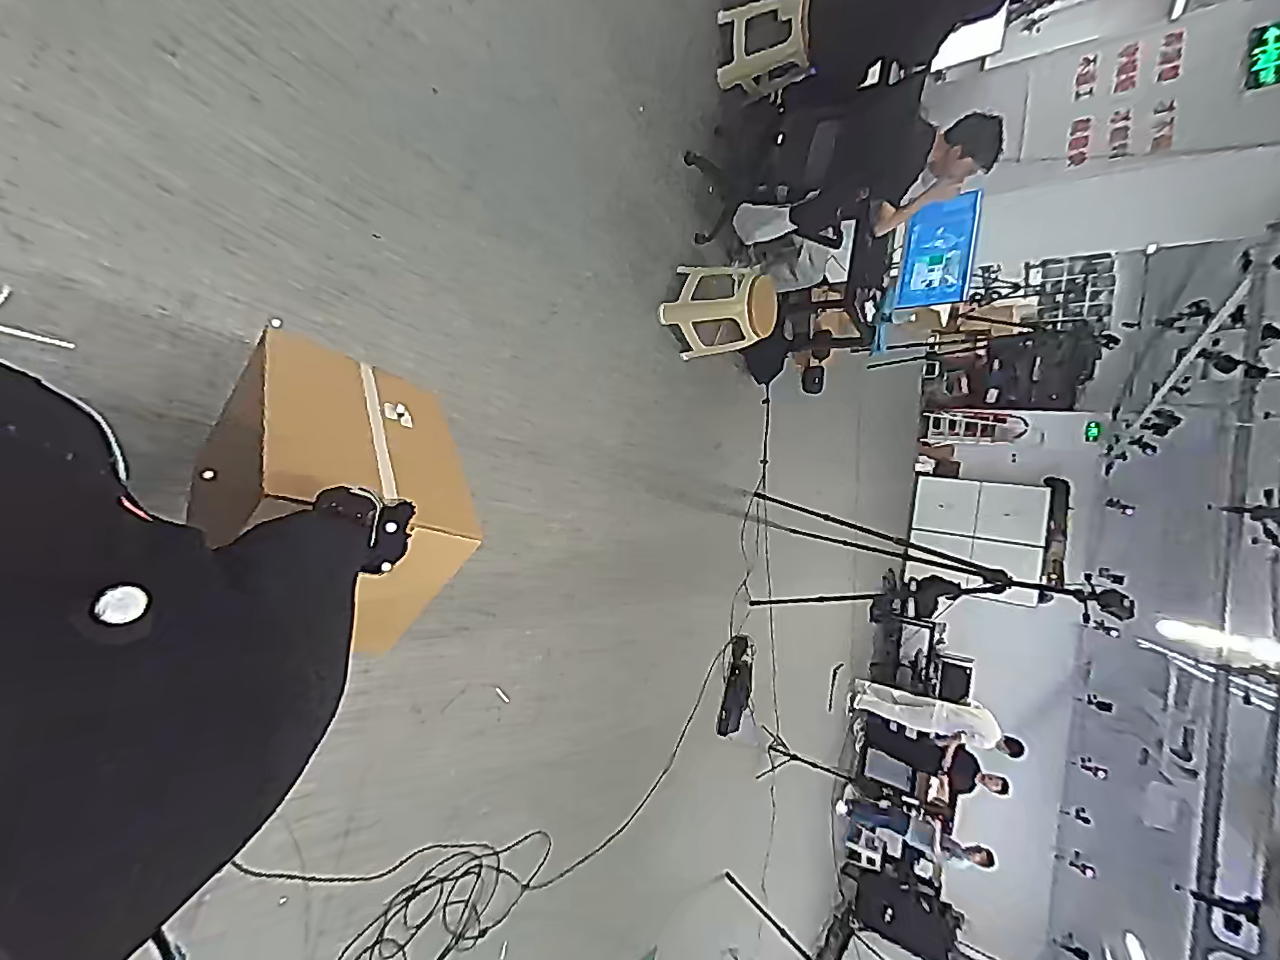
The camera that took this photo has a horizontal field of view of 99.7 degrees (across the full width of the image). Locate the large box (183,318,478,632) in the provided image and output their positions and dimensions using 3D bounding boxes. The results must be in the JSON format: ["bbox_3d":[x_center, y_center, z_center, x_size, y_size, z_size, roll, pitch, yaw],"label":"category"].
[{"bbox_3d":[-0.536,0.008,0.935,0.320,0.408,0.320,-45,141,19],"label":"large box"}]
